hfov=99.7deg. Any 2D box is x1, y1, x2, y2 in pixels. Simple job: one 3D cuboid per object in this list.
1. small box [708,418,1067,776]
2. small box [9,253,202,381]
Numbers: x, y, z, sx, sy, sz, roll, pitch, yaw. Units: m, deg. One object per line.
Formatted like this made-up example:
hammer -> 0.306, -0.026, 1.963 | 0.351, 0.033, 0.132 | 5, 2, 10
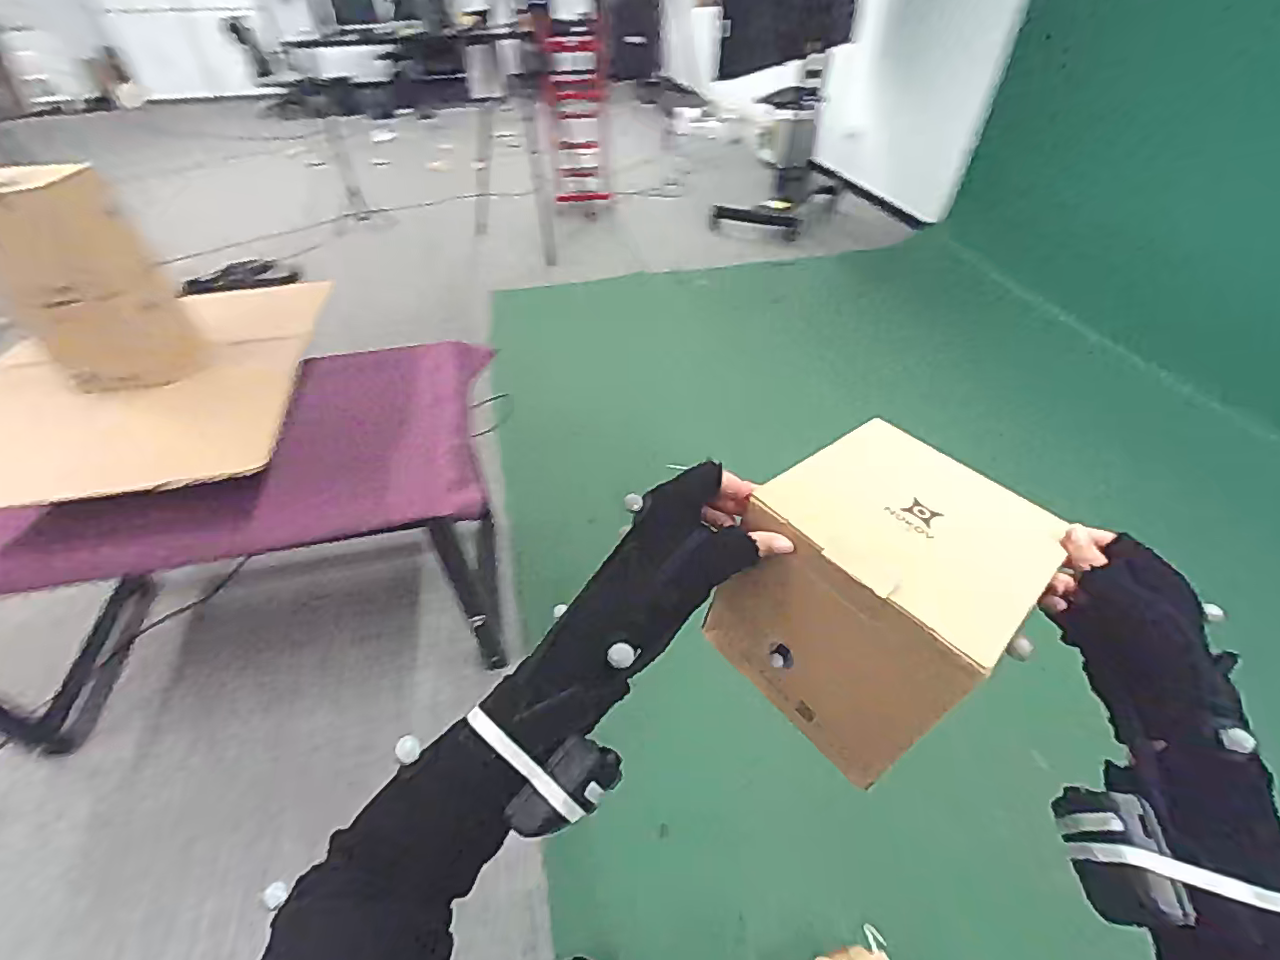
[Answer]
small box -> 0.176, 0.084, 0.424 | 0.179, 0.176, 0.168 | -28, 52, -35
small box -> -0.968, -0.297, 1.005 | 0.168, 0.176, 0.179 | -10, 45, -10
